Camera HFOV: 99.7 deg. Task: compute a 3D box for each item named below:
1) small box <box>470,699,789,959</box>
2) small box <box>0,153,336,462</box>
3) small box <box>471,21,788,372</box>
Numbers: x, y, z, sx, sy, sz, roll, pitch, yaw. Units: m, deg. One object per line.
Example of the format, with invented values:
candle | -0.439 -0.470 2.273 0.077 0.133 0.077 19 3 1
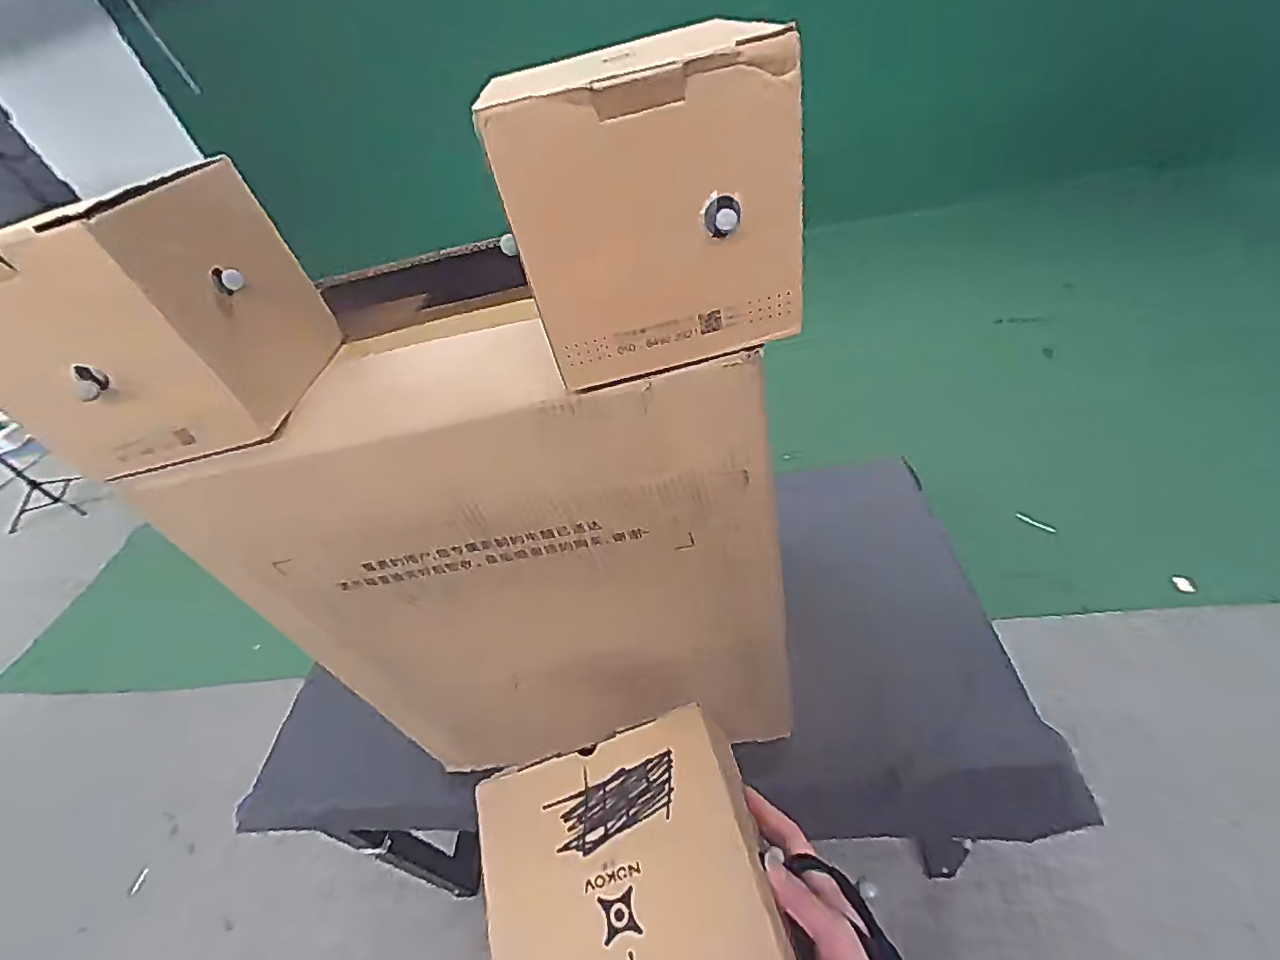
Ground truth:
small box | -0.002 0.284 0.386 0.168 0.176 0.179 -21 55 3
small box | -0.389 -0.131 0.439 0.168 0.176 0.179 -13 42 6
small box | 0.000 -0.190 0.377 0.168 0.176 0.179 -12 41 1
